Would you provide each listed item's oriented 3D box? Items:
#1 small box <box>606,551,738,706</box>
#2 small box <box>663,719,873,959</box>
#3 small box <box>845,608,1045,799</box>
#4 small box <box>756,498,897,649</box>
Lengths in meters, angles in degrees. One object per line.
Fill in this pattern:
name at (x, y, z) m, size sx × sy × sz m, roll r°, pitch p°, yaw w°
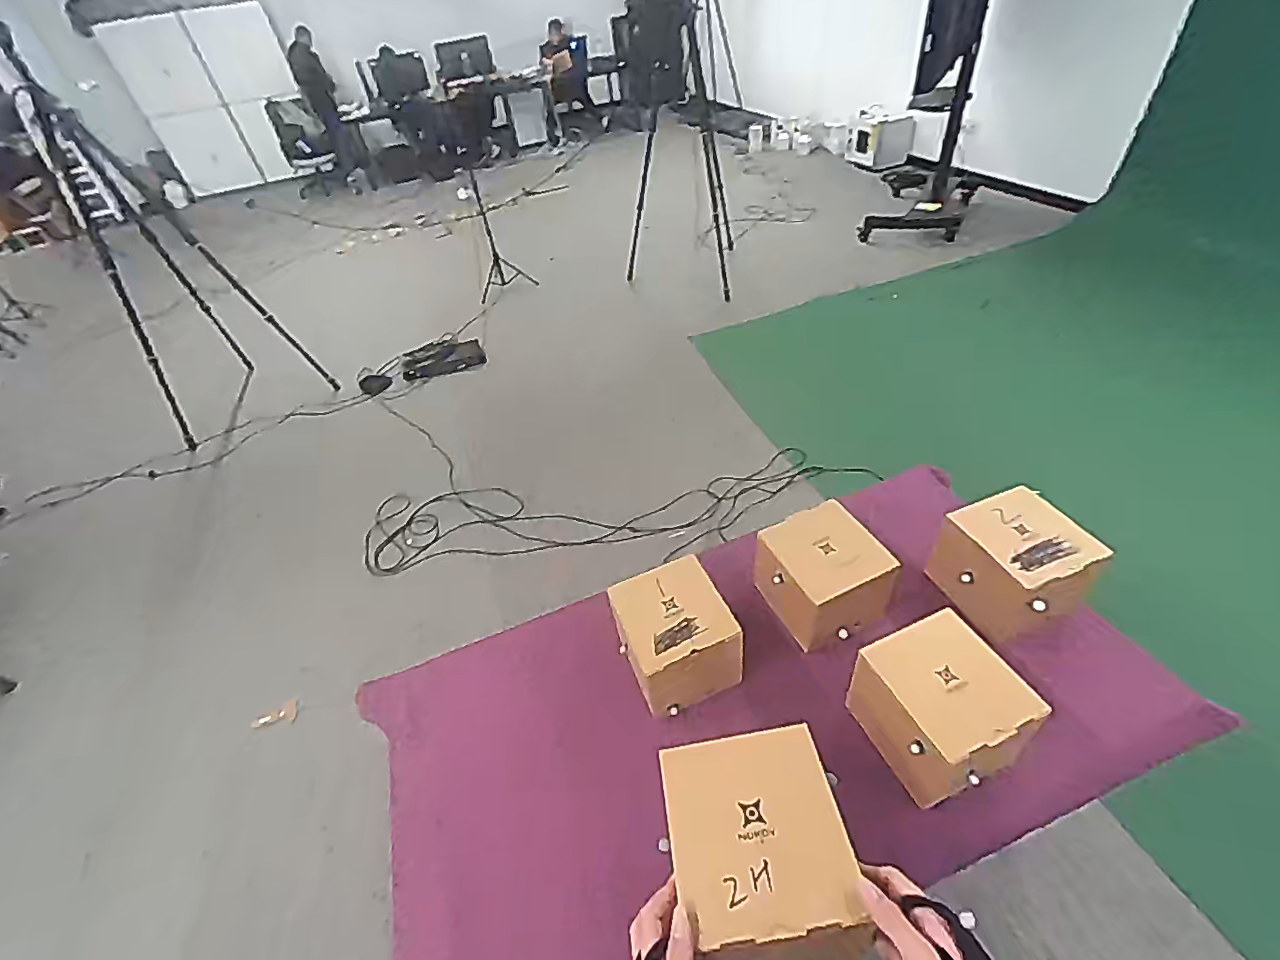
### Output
small box at (0.057, 0.260, 0.925) m, size 0.168 × 0.176 × 0.179 m, roll -20°, pitch 44°, yaw -11°
small box at (0.121, 0.386, 0.567) m, size 0.168 × 0.176 × 0.179 m, roll -10°, pitch 38°, yaw 2°
small box at (0.428, 0.327, 0.796) m, size 0.168 × 0.176 × 0.179 m, roll -20°, pitch 44°, yaw -11°
small box at (0.322, 0.169, 0.978) m, size 0.168 × 0.176 × 0.179 m, roll -21°, pitch 46°, yaw -11°
